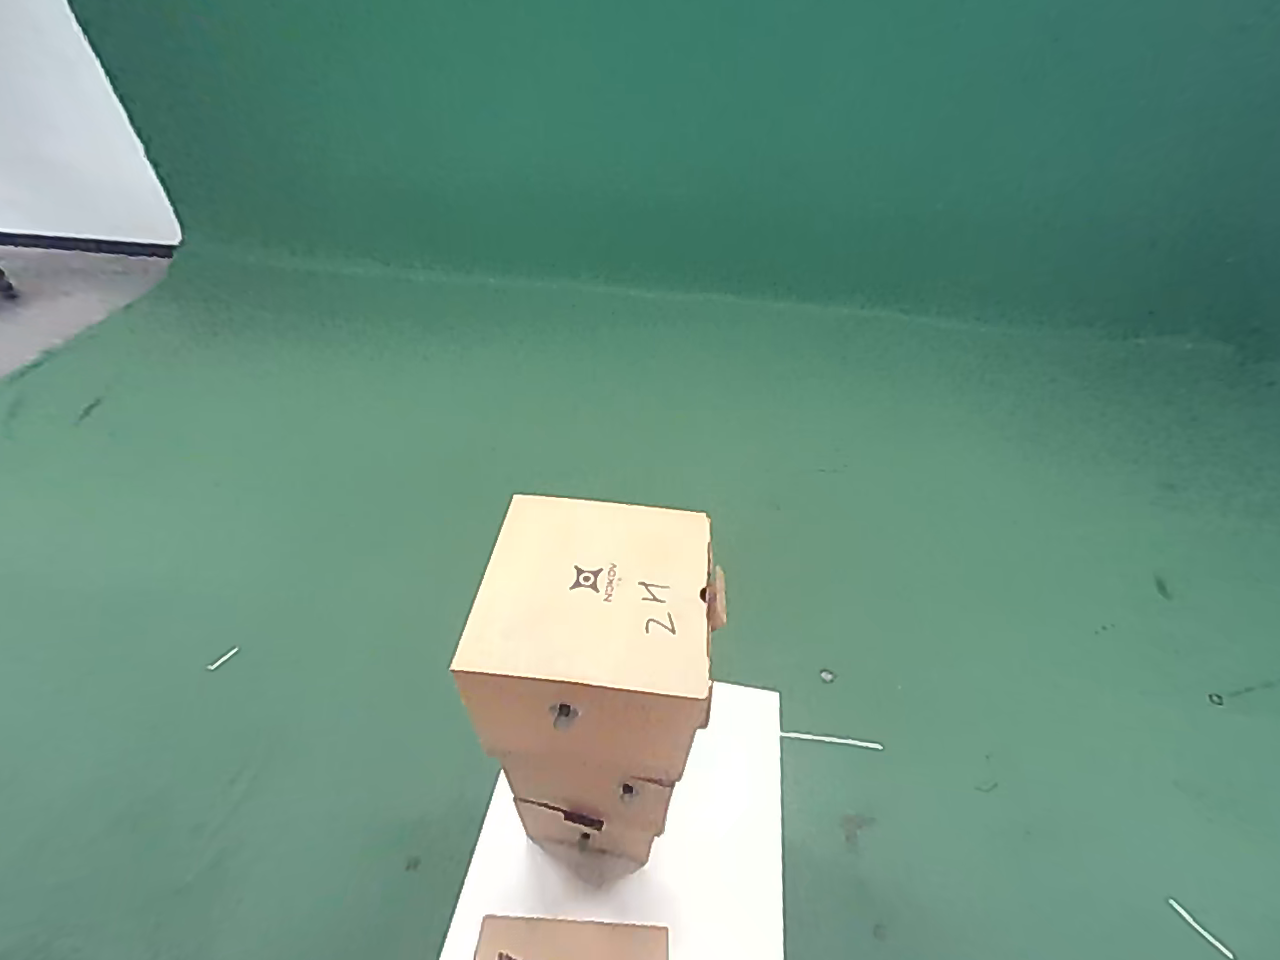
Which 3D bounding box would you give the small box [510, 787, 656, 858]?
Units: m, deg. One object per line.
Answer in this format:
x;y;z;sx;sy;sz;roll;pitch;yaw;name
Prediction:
-0.050;0.358;0.698;0.168;0.176;0.179;9;45;5;small box

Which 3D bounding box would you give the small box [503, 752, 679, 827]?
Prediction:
-0.040;0.245;0.582;0.179;0.176;0.168;11;45;7;small box

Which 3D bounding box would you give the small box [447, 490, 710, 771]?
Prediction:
-0.038;0.131;0.464;0.179;0.176;0.168;6;45;1;small box
